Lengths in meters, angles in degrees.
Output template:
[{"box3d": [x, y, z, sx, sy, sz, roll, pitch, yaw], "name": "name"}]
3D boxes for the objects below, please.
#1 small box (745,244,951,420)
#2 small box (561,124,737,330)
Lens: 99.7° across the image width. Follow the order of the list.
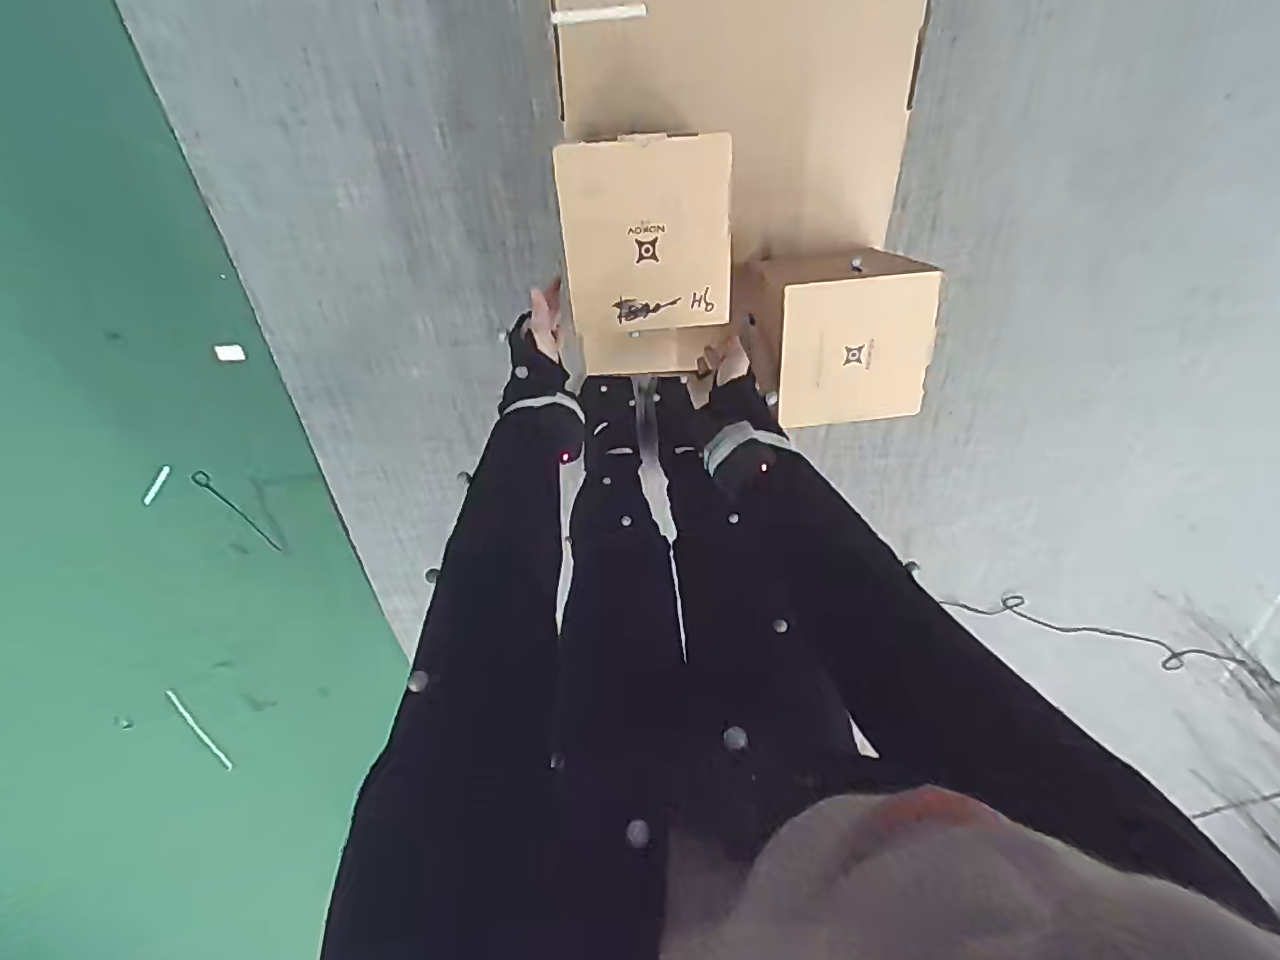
[{"box3d": [0.238, -0.189, 0.669, 0.179, 0.176, 0.168, -6, 120, -1], "name": "small box"}, {"box3d": [0.006, -0.277, 0.596, 0.168, 0.176, 0.179, -5, 120, -2], "name": "small box"}]
